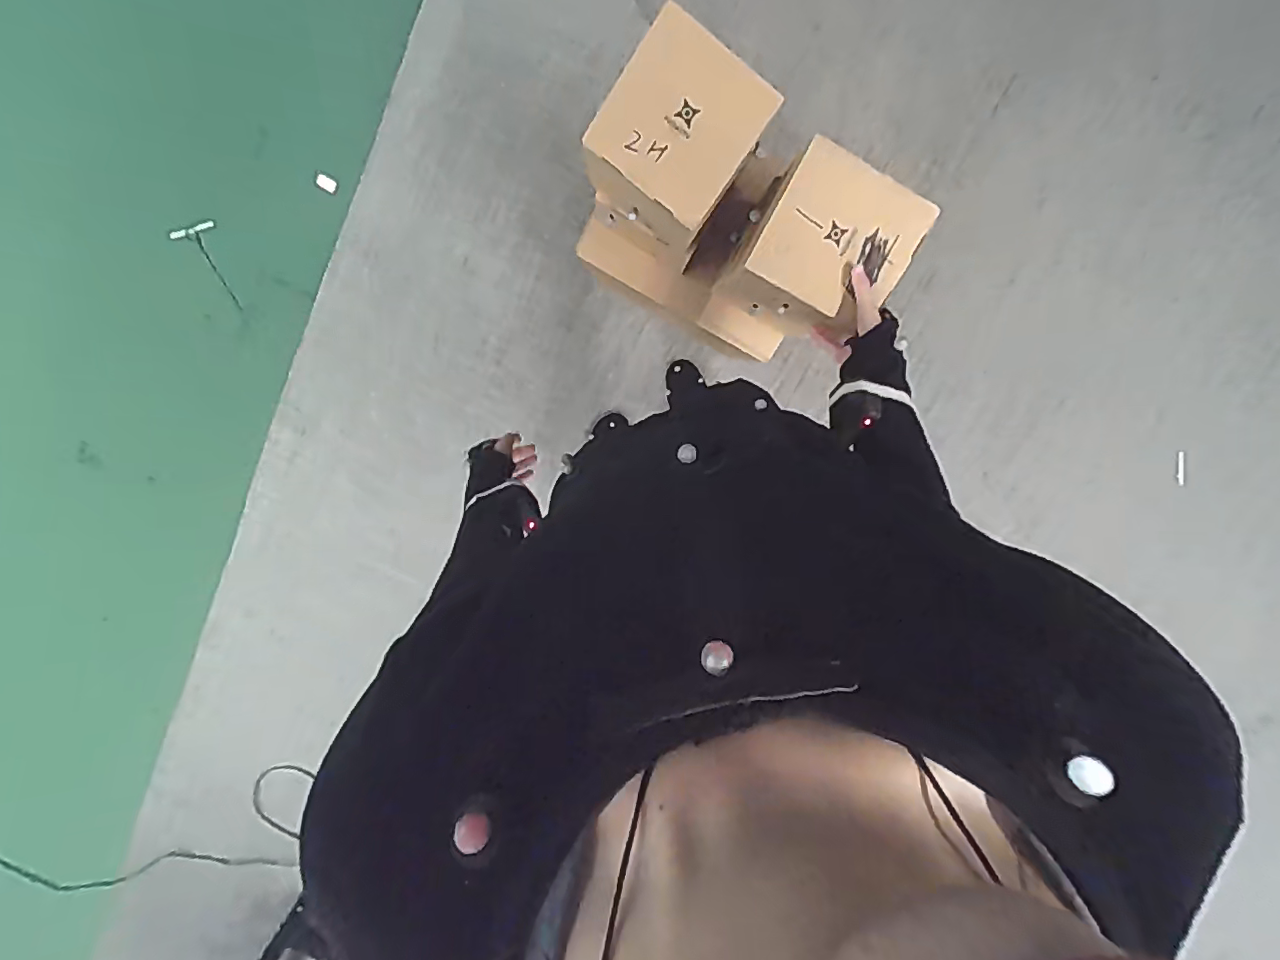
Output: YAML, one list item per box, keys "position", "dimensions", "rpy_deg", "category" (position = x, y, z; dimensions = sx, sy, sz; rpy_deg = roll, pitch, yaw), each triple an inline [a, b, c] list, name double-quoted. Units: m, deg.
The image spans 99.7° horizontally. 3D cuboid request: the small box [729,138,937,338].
- position: [0.239, -0.305, 0.720]
  dimensions: [0.179, 0.176, 0.168]
  rpy_deg: [28, 102, -4]
  category: "small box"
